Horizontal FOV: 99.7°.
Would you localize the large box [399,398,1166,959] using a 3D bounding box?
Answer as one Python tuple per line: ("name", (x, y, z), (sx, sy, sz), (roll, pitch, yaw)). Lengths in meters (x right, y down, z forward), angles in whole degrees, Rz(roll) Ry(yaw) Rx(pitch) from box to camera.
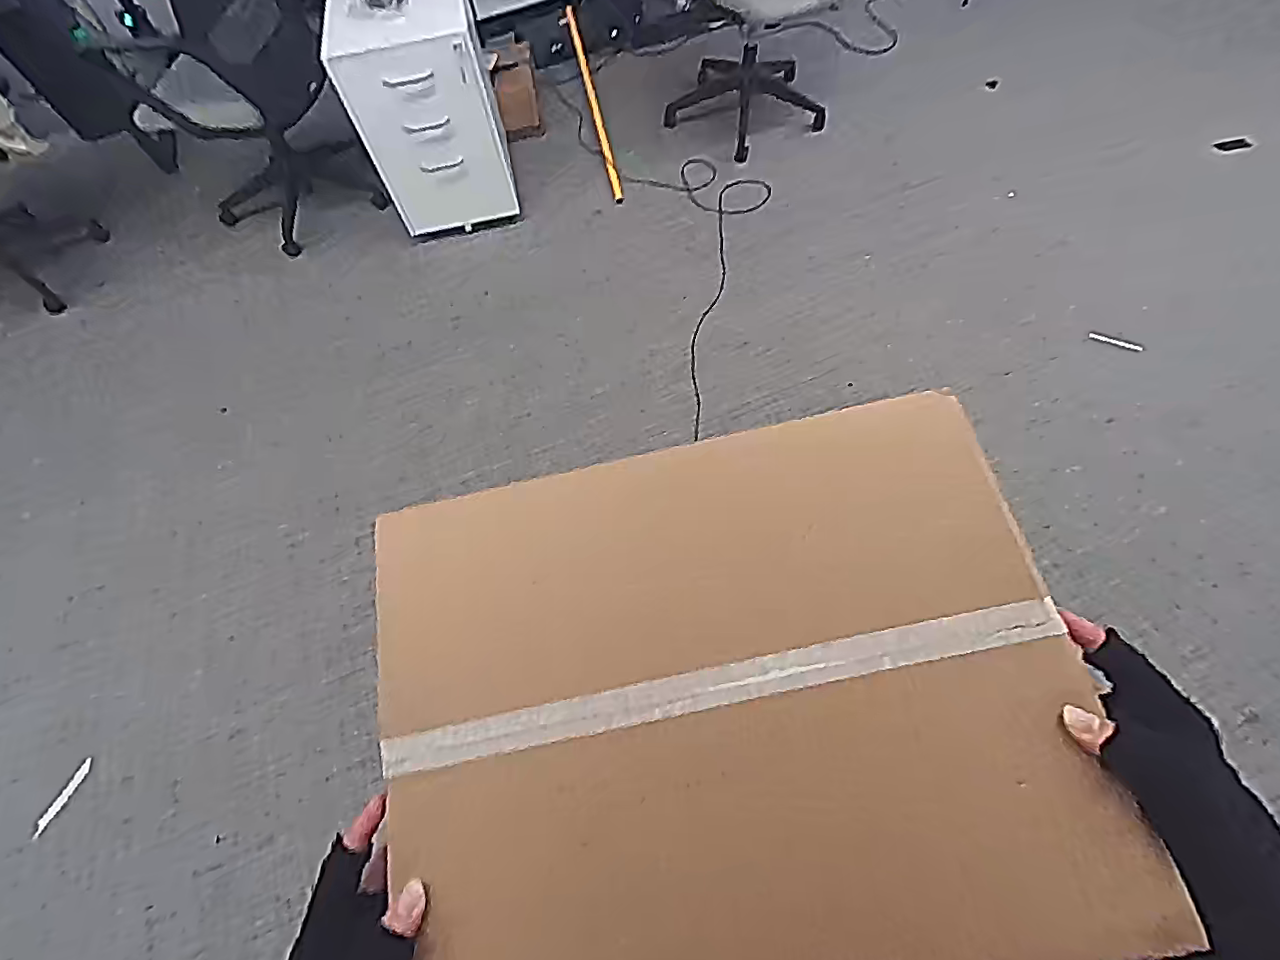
("large box", (0.062, 0.176, 0.471), (0.408, 0.320, 0.320), (-13, 70, 2))
